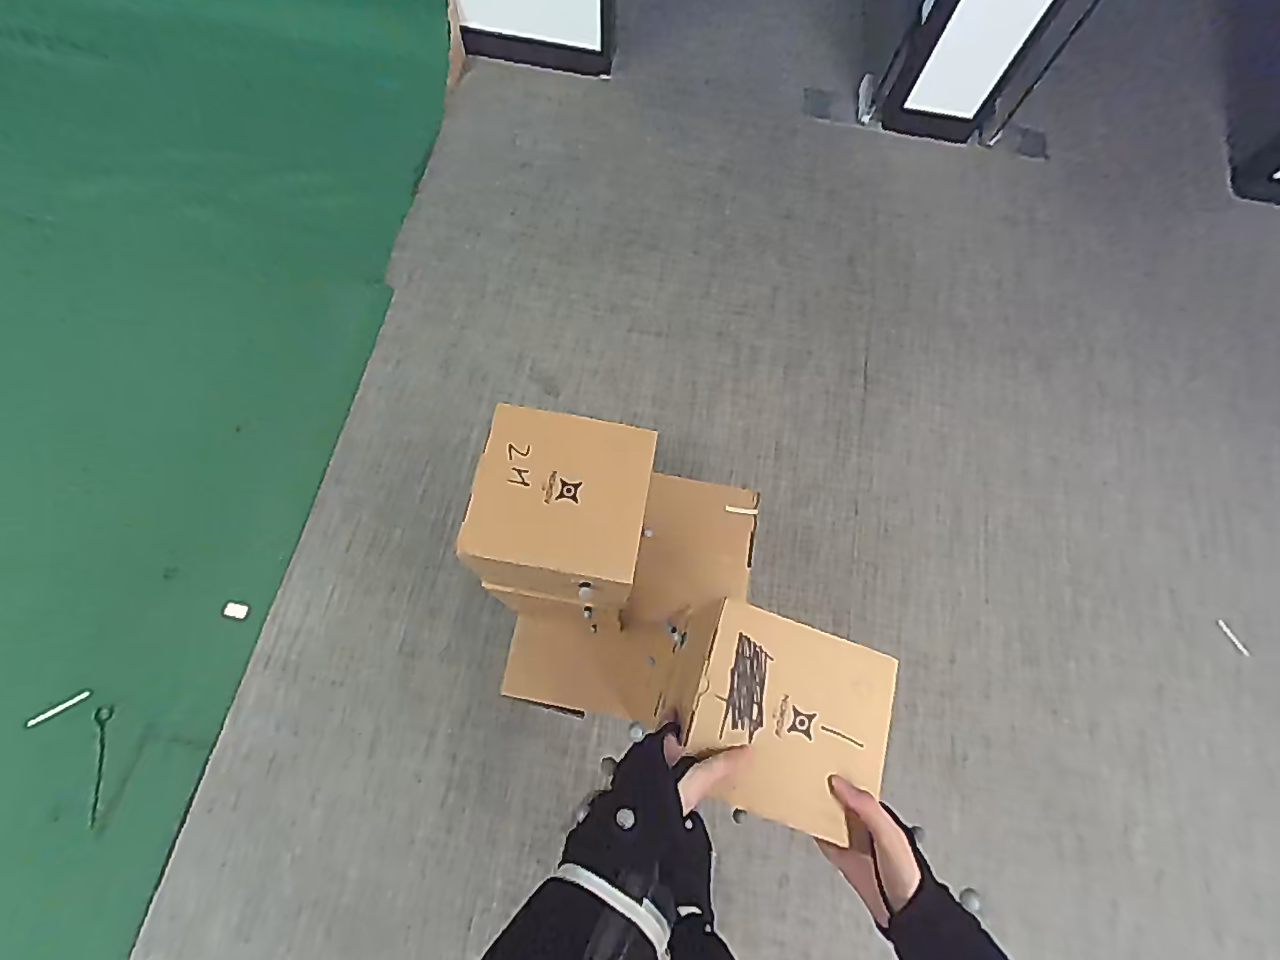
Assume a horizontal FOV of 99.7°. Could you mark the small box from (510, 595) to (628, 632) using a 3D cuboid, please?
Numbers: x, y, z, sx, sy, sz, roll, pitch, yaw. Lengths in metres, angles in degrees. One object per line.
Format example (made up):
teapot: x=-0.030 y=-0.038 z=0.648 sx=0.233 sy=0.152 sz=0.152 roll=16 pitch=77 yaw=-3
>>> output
small box: x=-0.106 y=0.162 z=0.922 sx=0.179 sy=0.176 sz=0.168 roll=8 pitch=69 yaw=0

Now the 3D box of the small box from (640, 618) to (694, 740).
small box: x=0.098 y=0.336 z=0.871 sx=0.168 sy=0.176 sz=0.179 roll=14 pitch=70 yaw=1

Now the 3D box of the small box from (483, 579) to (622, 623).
small box: x=-0.103 y=0.103 z=0.771 sx=0.179 sy=0.176 sz=0.168 roll=10 pitch=69 yaw=-1

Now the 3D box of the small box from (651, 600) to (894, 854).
small box: x=0.121 y=0.239 z=0.550 sx=0.179 sy=0.176 sz=0.168 roll=20 pitch=68 yaw=0

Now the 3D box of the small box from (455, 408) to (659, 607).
small box: x=-0.084 y=0.042 z=0.618 sx=0.179 sy=0.176 sz=0.168 roll=11 pitch=68 yaw=0
